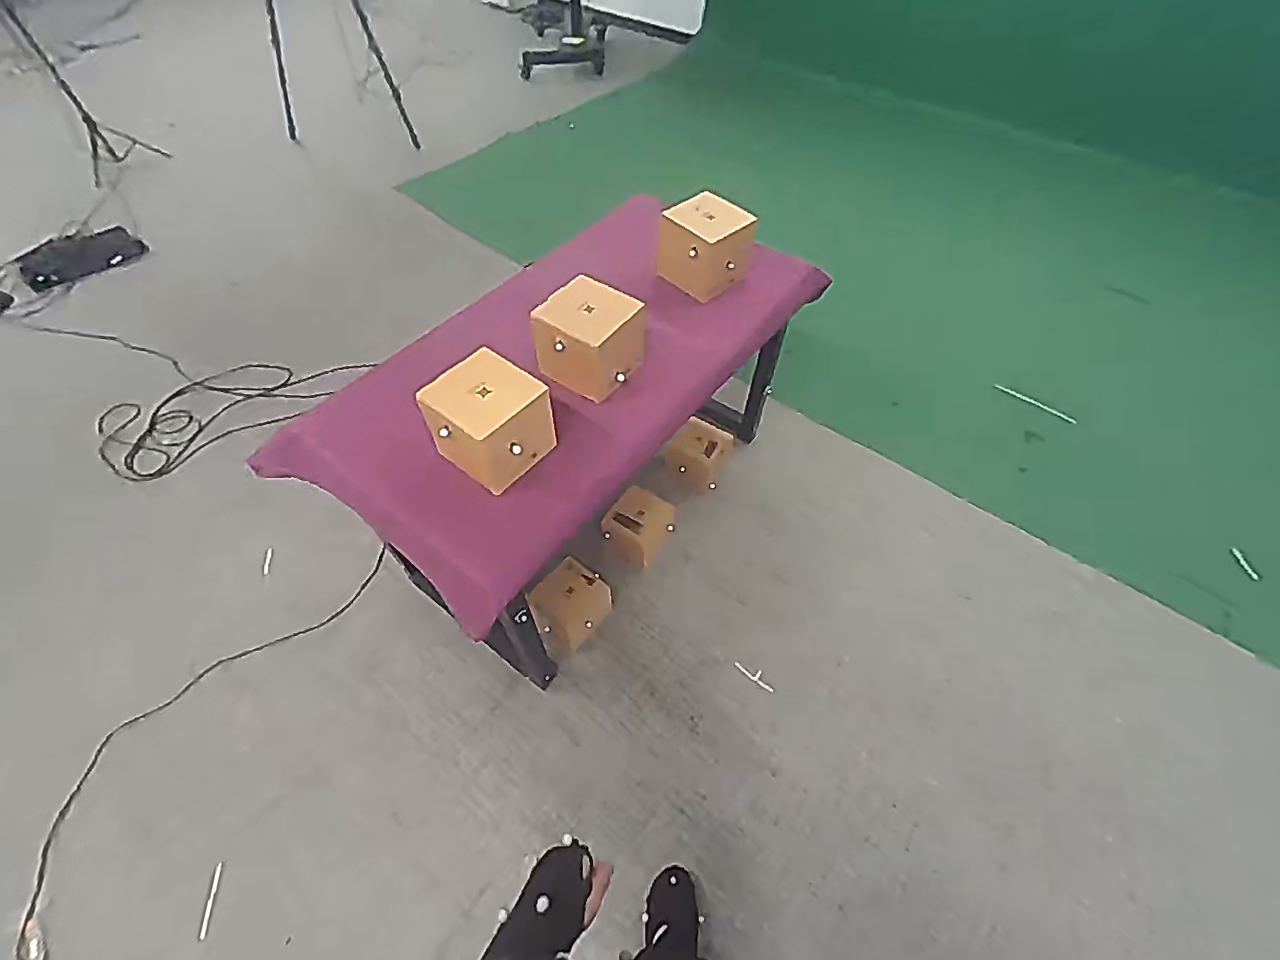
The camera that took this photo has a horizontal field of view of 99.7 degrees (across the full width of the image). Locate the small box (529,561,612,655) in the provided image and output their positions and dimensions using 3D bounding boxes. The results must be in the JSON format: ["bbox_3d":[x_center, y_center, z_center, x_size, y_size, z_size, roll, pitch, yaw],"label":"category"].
[{"bbox_3d":[-0.195,0.377,1.576,0.168,0.176,0.179,35,61,23],"label":"small box"}]

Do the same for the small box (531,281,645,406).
[{"bbox_3d":[-0.107,-0.290,1.166,0.179,0.176,0.168,31,60,20],"label":"small box"}]

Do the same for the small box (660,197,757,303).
[{"bbox_3d":[0.168,-0.576,1.372,0.168,0.176,0.179,-36,62,-23],"label":"small box"}]

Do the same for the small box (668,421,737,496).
[{"bbox_3d":[0.215,-0.069,1.901,0.179,0.176,0.168,29,59,20],"label":"small box"}]

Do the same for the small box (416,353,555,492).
[{"bbox_3d":[-0.282,-0.101,1.027,0.179,0.176,0.168,33,60,22],"label":"small box"}]
